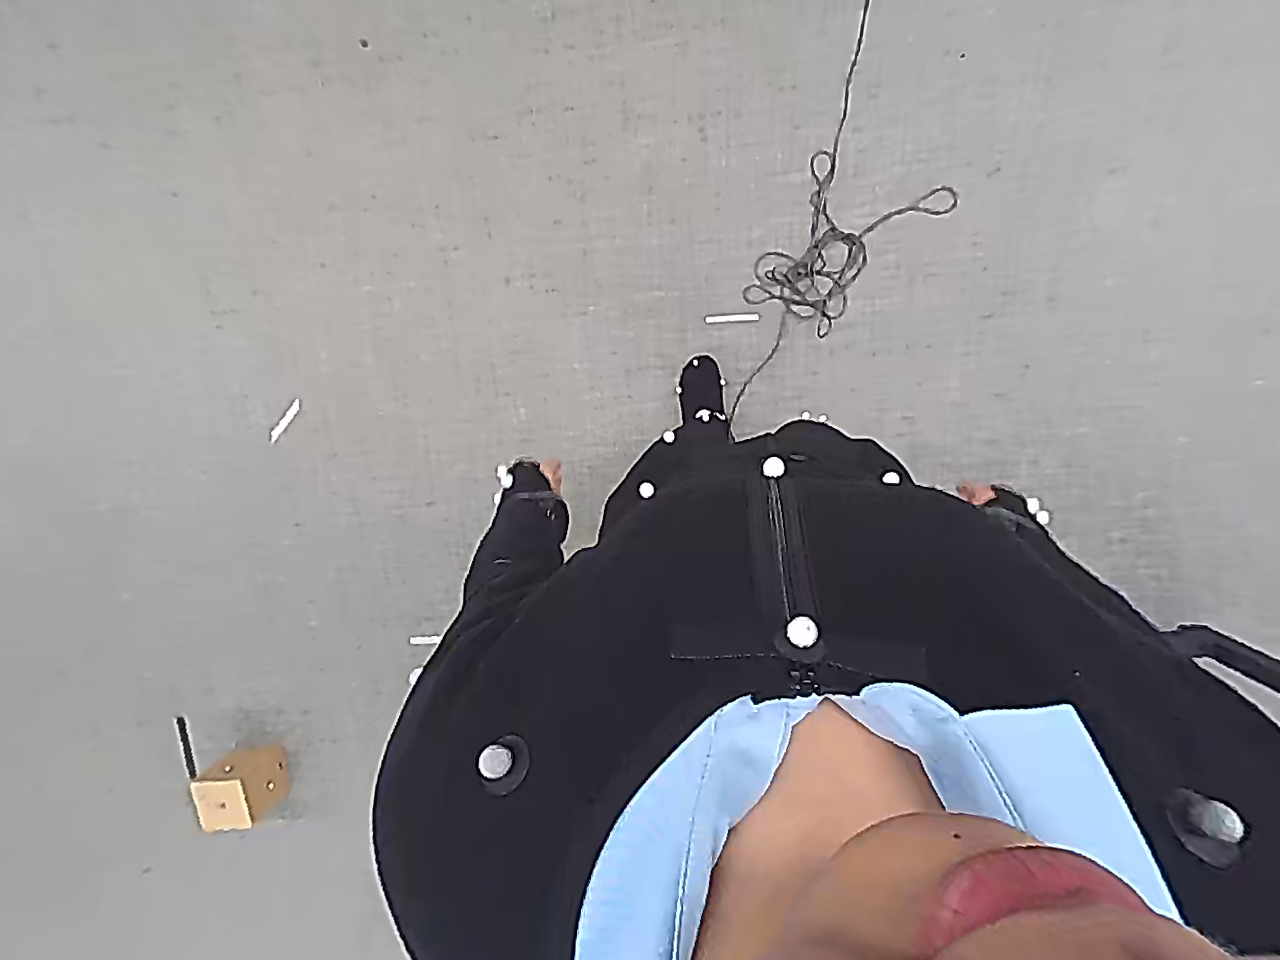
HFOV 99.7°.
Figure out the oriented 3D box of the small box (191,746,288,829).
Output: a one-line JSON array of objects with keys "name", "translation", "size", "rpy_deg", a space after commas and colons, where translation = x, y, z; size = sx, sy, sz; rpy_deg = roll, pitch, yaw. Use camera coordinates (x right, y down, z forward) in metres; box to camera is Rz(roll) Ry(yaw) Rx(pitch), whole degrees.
[{"name": "small box", "translation": [-1.257, 0.969, 1.714], "size": [0.179, 0.176, 0.168], "rpy_deg": [-6, 98, 8]}]
